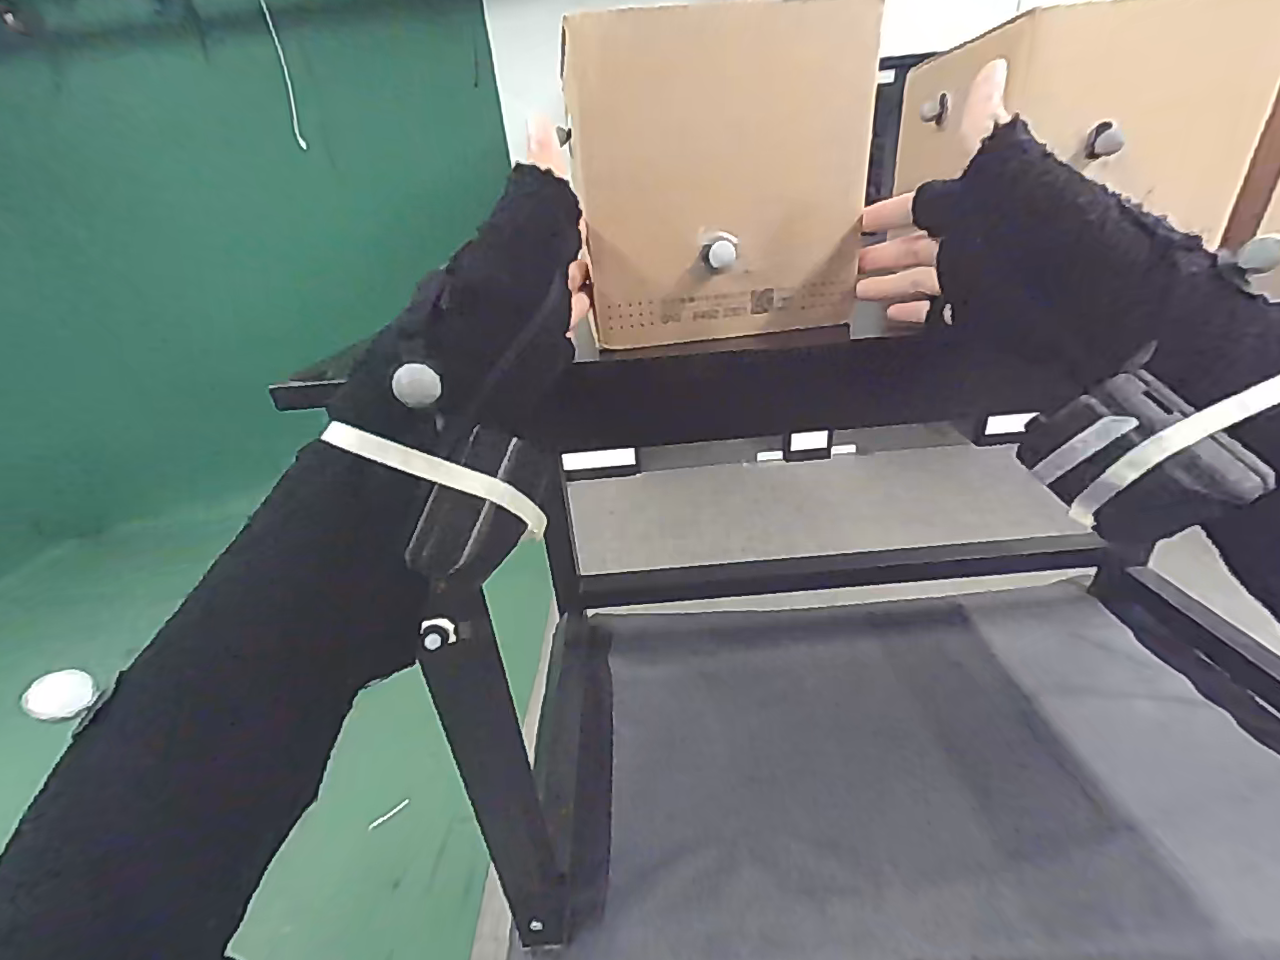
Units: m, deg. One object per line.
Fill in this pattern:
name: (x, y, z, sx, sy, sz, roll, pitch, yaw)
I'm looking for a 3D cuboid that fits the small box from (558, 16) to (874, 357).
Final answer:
small box: (0.035, -0.192, 0.381, 0.168, 0.176, 0.179, -8, 28, -5)
